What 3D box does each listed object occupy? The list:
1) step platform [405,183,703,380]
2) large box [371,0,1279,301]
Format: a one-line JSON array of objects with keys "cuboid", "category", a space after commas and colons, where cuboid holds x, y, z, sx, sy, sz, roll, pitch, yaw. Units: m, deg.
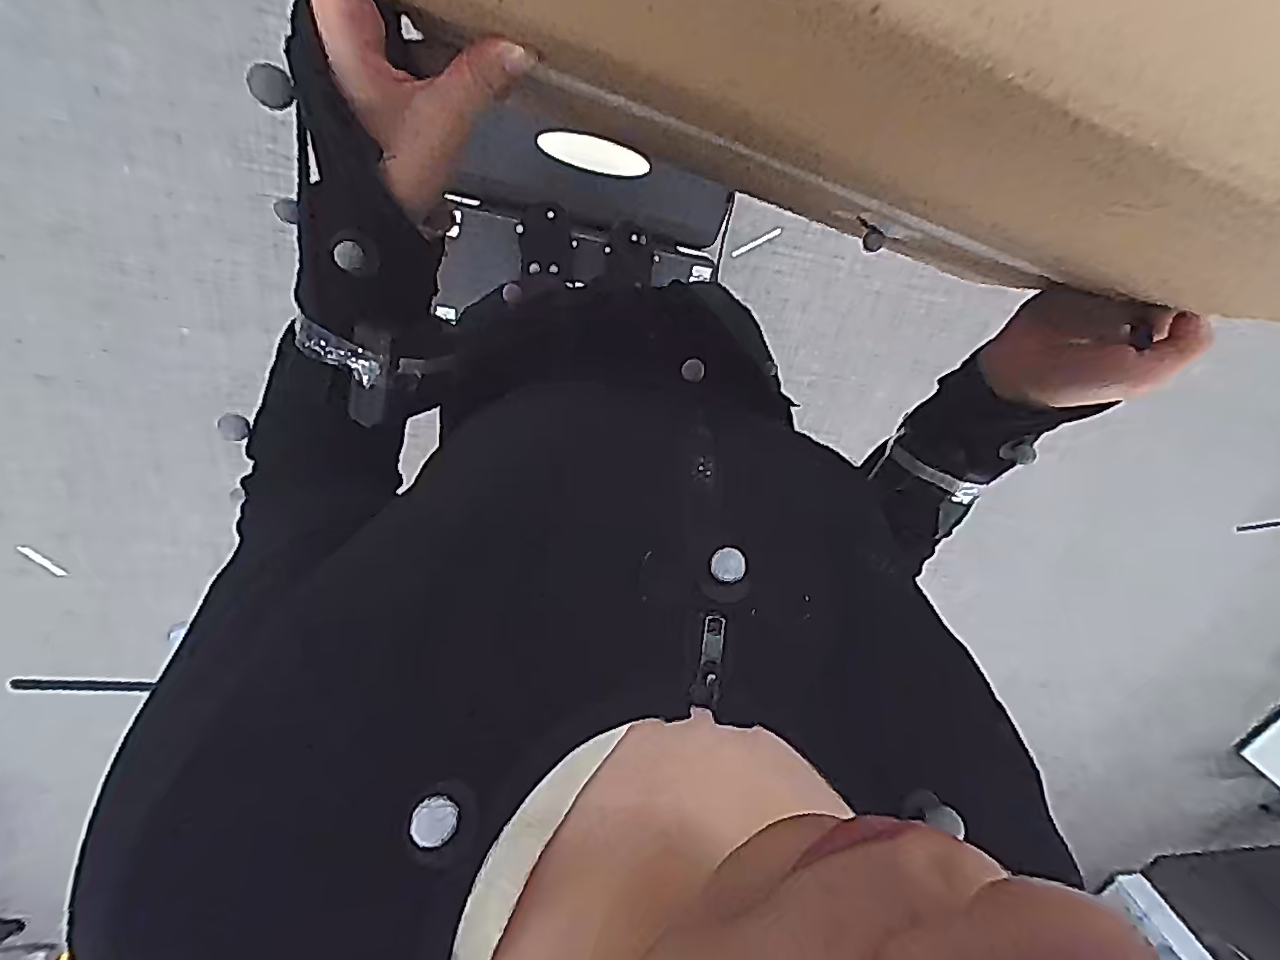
[{"cuboid": [-0.196, -0.462, 1.307, 0.684, 0.204, 0.286, 11, 117, -15], "category": "step platform"}, {"cuboid": [0.117, -0.290, 0.201, 0.408, 0.320, 0.320, 14, 114, -9], "category": "large box"}]
